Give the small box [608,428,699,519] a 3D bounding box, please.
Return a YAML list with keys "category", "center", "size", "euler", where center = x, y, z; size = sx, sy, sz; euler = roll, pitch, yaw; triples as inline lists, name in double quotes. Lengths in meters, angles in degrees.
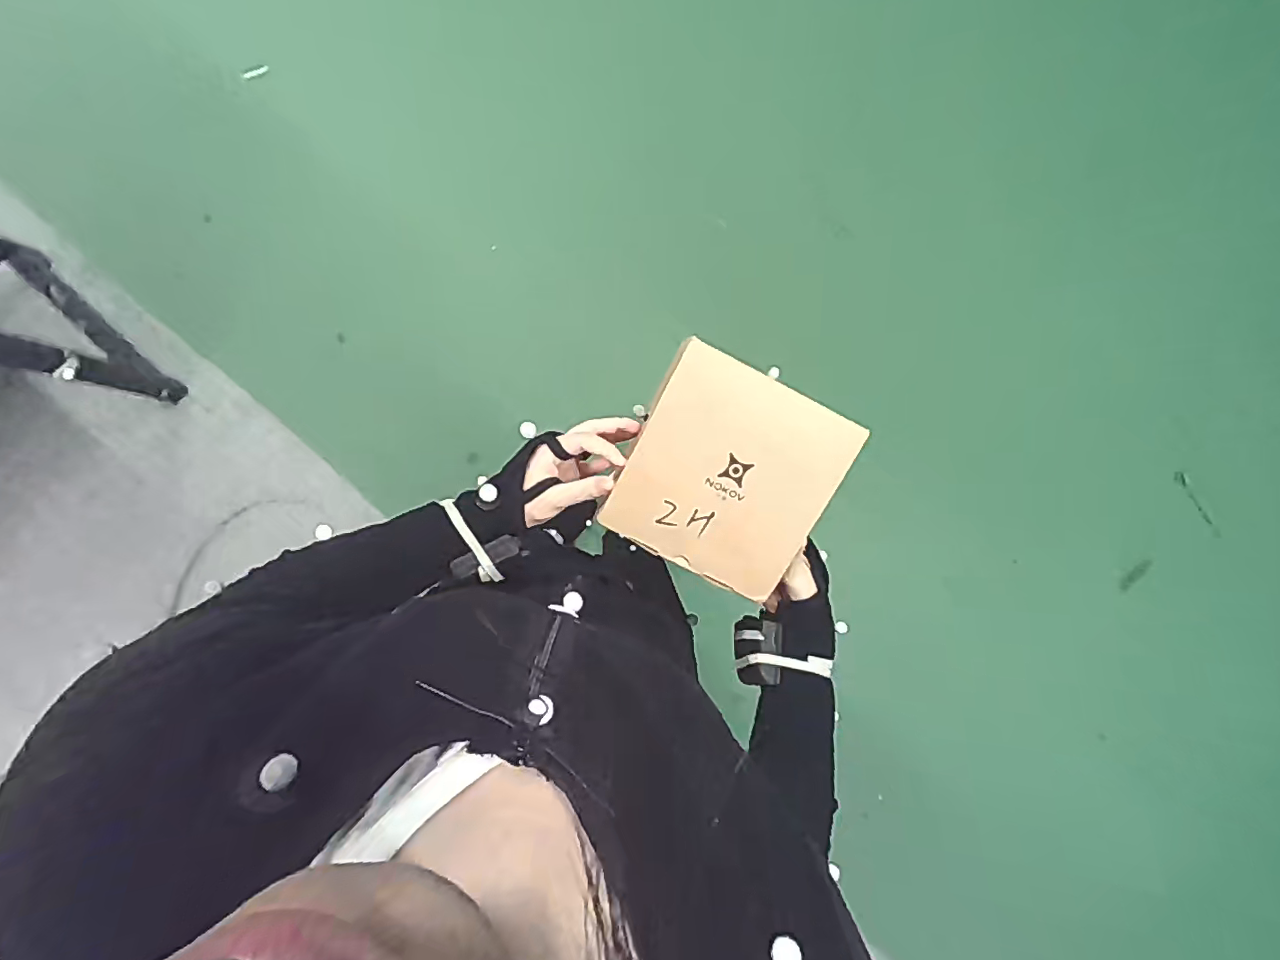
- category: "small box"
  center: [0.035, -0.013, 1.448]
  size: [0.168, 0.176, 0.179]
  euler: [42, 87, 0]
